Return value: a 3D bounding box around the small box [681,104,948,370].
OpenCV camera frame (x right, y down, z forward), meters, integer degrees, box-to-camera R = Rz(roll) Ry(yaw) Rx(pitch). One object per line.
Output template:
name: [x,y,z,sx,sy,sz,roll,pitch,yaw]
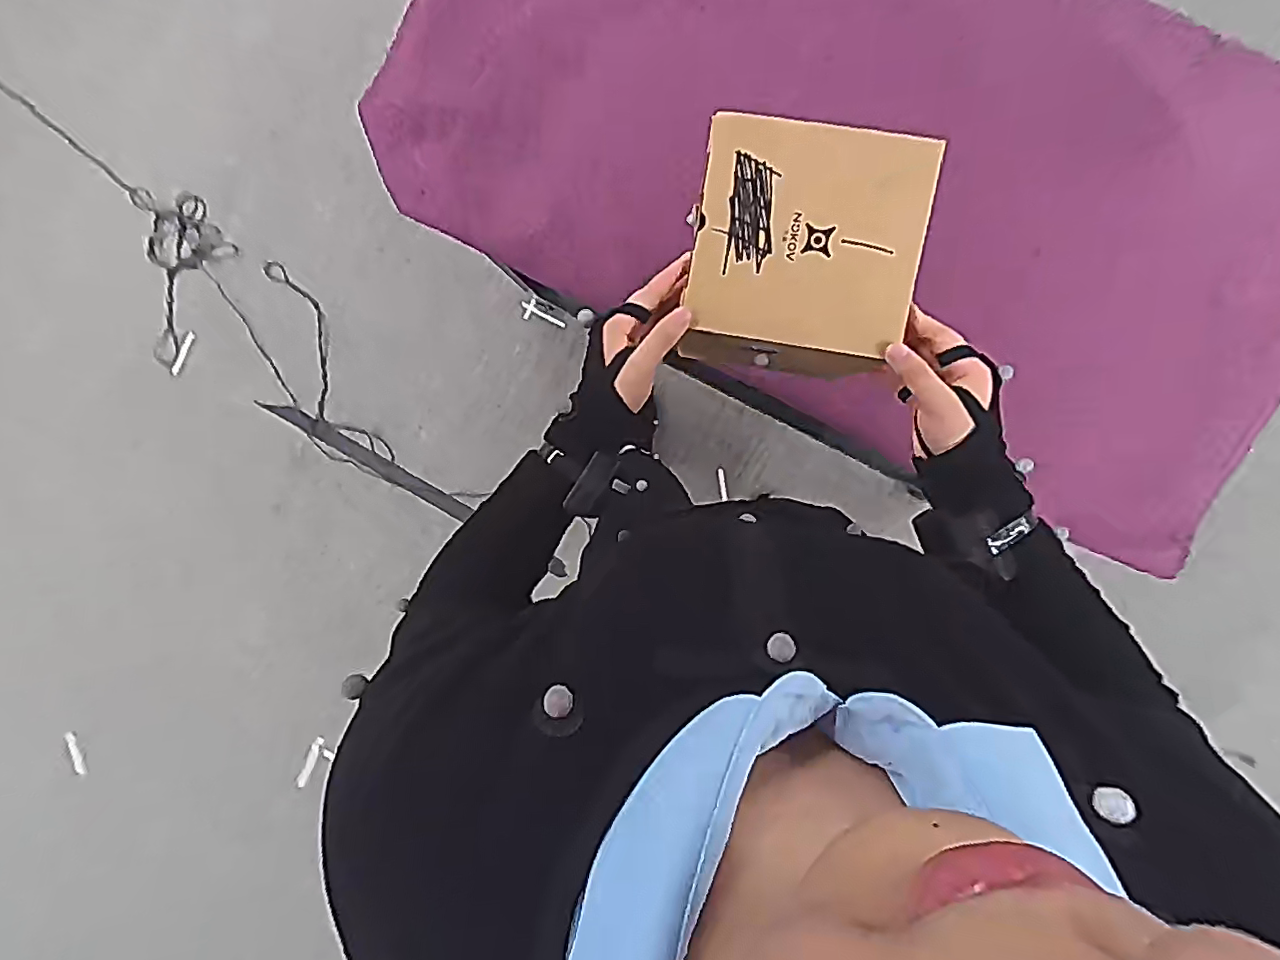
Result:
small box: [0.137,-0.201,0.495,0.179,0.176,0.168,10,96,3]
